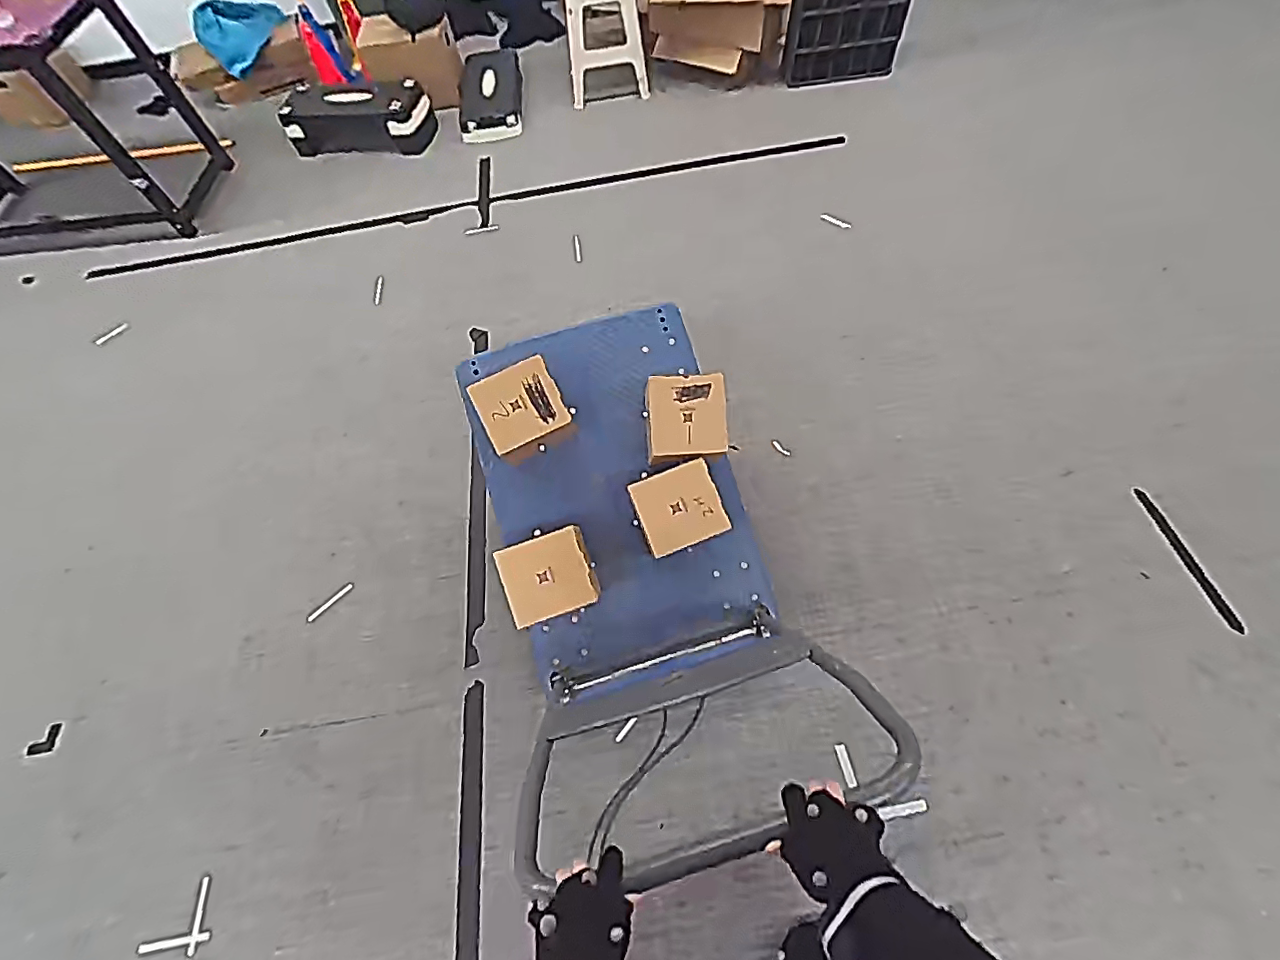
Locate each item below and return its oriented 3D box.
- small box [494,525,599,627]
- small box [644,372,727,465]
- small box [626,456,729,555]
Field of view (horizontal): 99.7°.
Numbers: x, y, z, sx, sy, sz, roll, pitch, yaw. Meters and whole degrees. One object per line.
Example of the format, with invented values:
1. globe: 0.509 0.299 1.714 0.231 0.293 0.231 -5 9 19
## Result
1. small box: -0.197 0.208 1.192 0.179 0.176 0.168 -20 84 -5
2. small box: 0.098 -0.136 1.237 0.168 0.176 0.179 -4 85 -1
3. small box: 0.080 0.062 1.215 0.179 0.176 0.168 -22 85 -3
